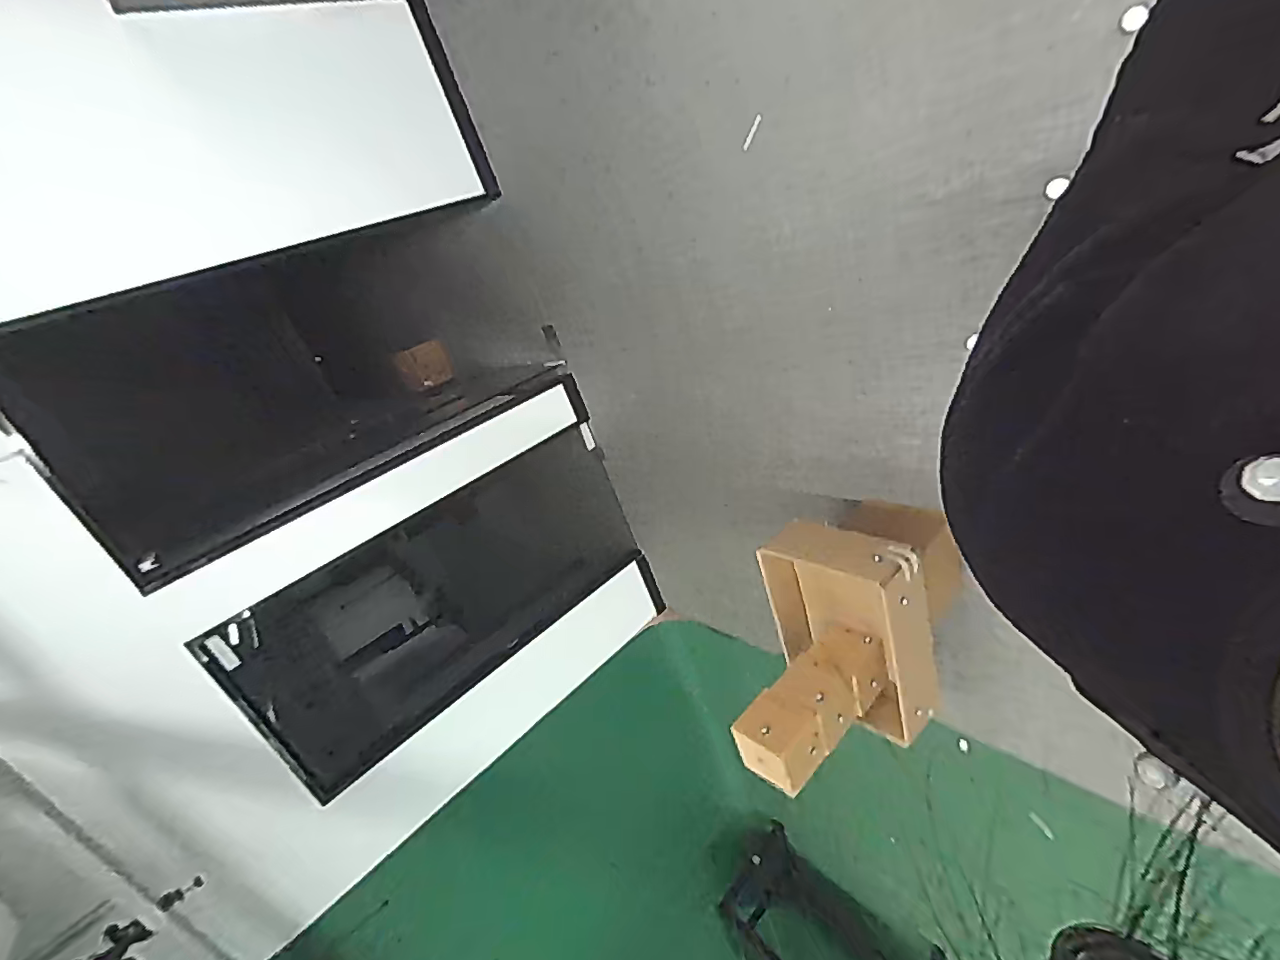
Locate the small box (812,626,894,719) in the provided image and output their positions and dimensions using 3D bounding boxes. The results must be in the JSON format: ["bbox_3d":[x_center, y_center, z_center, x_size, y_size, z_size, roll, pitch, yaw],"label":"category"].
[{"bbox_3d":[0.655,0.581,1.656,0.168,0.176,0.179,14,129,50],"label":"small box"}]

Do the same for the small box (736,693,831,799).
[{"bbox_3d":[0.403,0.730,1.510,0.179,0.176,0.168,10,127,52],"label":"small box"}]
